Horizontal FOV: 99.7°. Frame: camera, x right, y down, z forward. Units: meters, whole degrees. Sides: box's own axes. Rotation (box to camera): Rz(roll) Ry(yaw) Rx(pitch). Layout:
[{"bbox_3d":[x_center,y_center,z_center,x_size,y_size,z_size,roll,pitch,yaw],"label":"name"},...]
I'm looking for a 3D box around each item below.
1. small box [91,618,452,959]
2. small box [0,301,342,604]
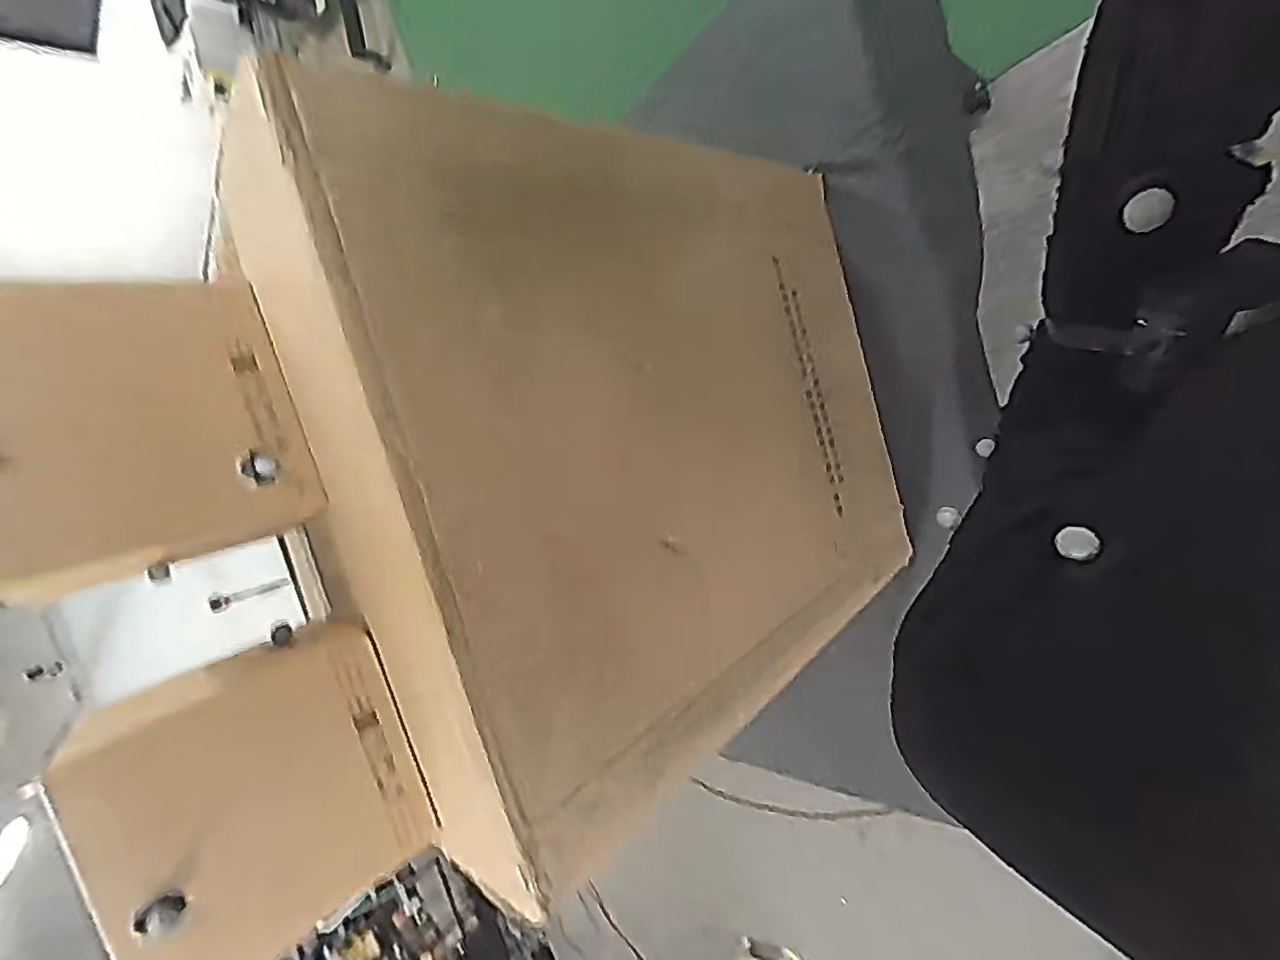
[{"bbox_3d":[-0.271,0.218,0.417,0.179,0.176,0.168,-14,96,49],"label":"small box"},{"bbox_3d":[-0.345,-0.021,0.401,0.179,0.176,0.168,-19,90,48],"label":"small box"}]
